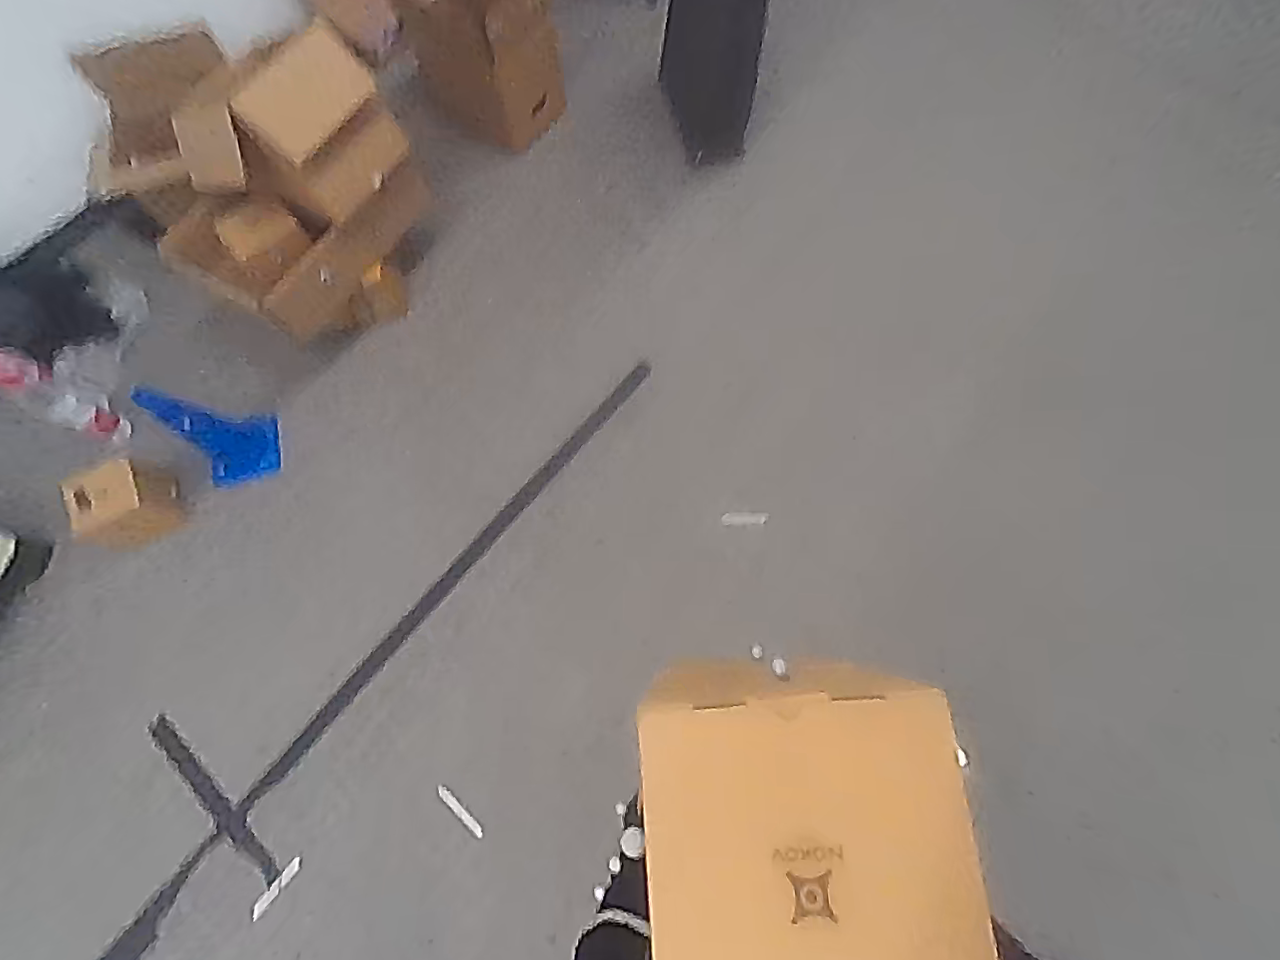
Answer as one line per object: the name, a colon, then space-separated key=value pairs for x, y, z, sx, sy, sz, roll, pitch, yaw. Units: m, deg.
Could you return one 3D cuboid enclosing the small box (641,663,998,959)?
small box: x=0.094 y=0.220 z=0.347 sx=0.168 sy=0.176 sz=0.179 roll=-6 pitch=74 yaw=4
